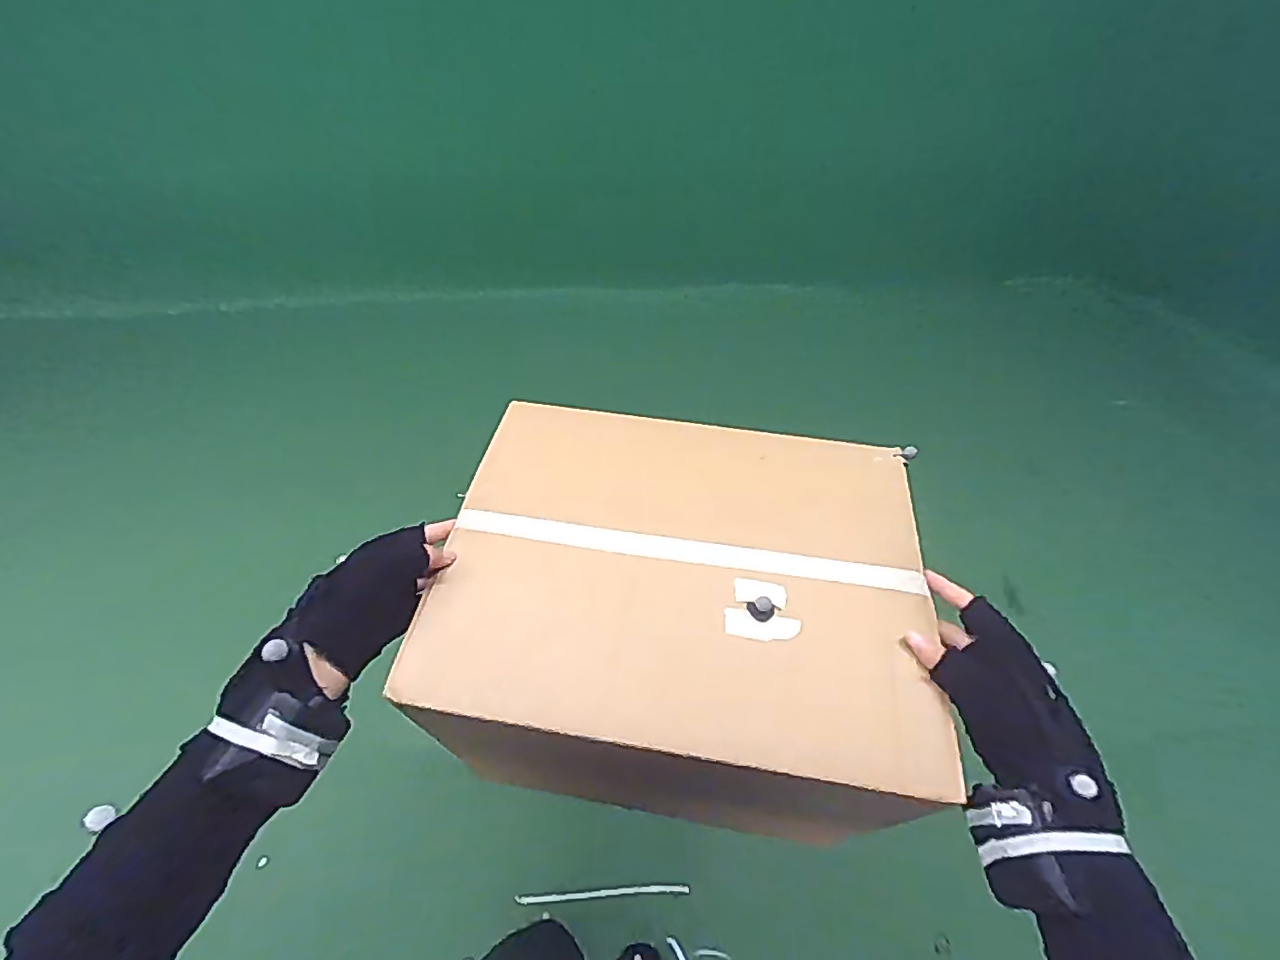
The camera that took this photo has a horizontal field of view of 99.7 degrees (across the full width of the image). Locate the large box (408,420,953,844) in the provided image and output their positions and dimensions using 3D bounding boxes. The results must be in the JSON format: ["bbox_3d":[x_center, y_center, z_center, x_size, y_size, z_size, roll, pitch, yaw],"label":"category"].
[{"bbox_3d":[0.040,0.168,0.592,0.408,0.320,0.320,8,52,6],"label":"large box"}]
